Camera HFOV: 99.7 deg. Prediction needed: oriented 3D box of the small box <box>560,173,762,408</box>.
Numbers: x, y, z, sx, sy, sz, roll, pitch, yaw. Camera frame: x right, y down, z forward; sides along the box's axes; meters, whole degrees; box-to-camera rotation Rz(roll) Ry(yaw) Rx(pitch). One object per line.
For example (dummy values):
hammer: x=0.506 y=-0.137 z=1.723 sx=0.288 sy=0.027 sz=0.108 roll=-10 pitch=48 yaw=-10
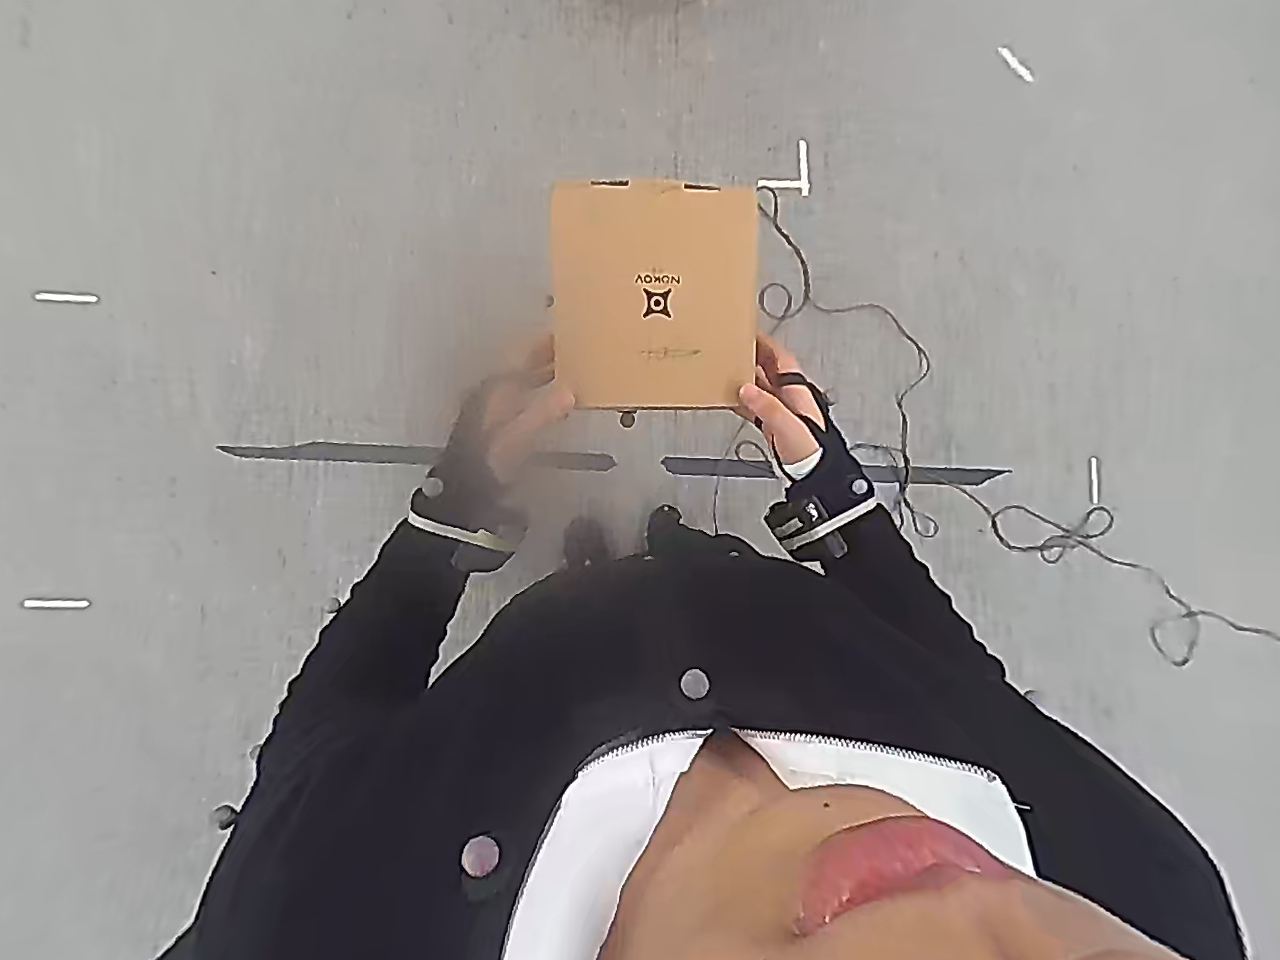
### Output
small box: x=0.008 y=-0.160 z=0.514 sx=0.168 sy=0.176 sz=0.179 roll=-1 pitch=97 yaw=-6
